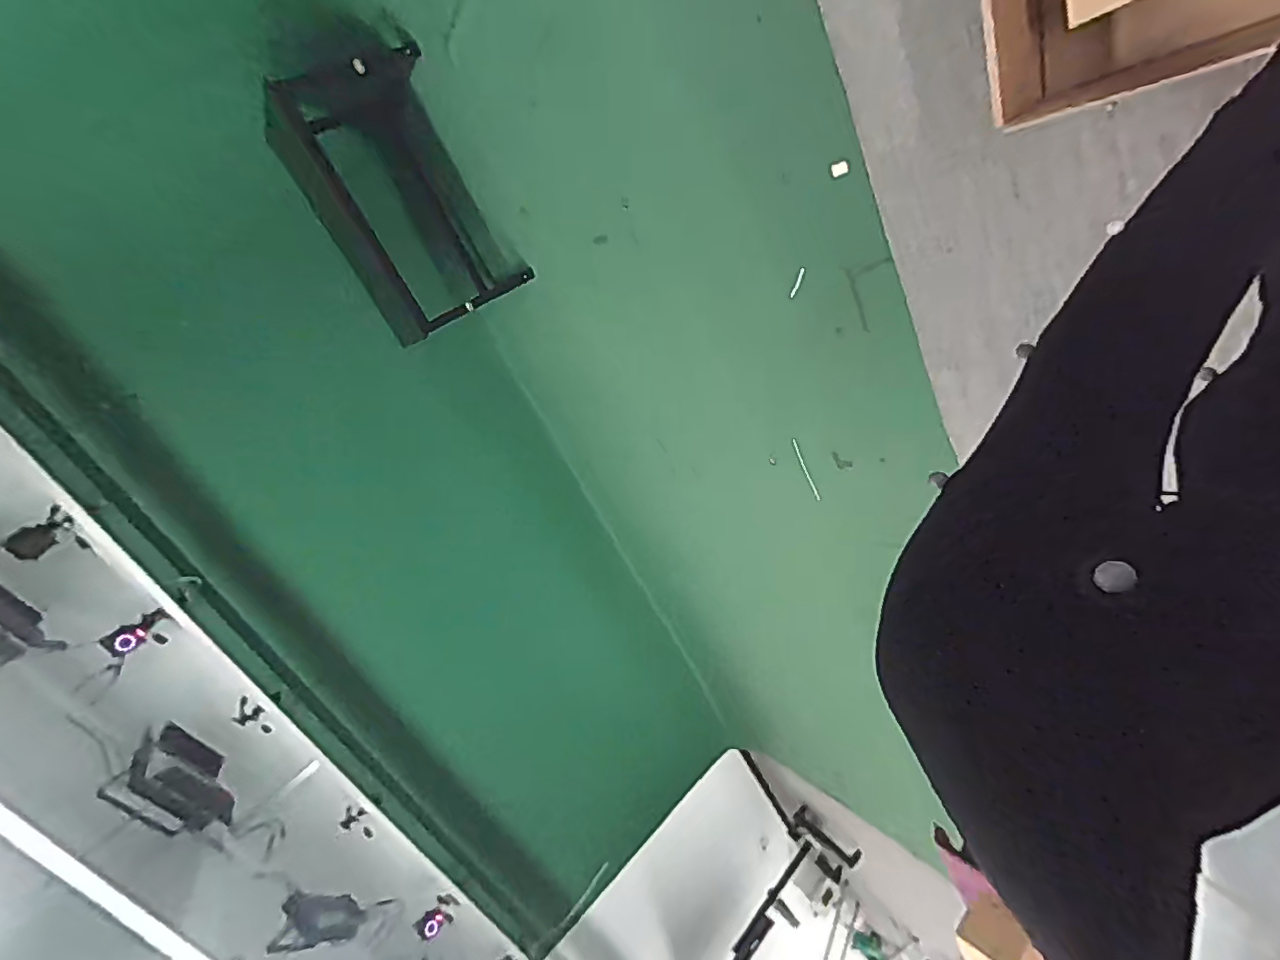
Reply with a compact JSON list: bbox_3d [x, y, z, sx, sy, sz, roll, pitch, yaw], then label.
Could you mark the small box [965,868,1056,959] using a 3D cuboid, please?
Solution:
[{"bbox_3d":[1.148,1.365,1.669,0.168,0.176,0.179,6,131,58],"label":"small box"}]
